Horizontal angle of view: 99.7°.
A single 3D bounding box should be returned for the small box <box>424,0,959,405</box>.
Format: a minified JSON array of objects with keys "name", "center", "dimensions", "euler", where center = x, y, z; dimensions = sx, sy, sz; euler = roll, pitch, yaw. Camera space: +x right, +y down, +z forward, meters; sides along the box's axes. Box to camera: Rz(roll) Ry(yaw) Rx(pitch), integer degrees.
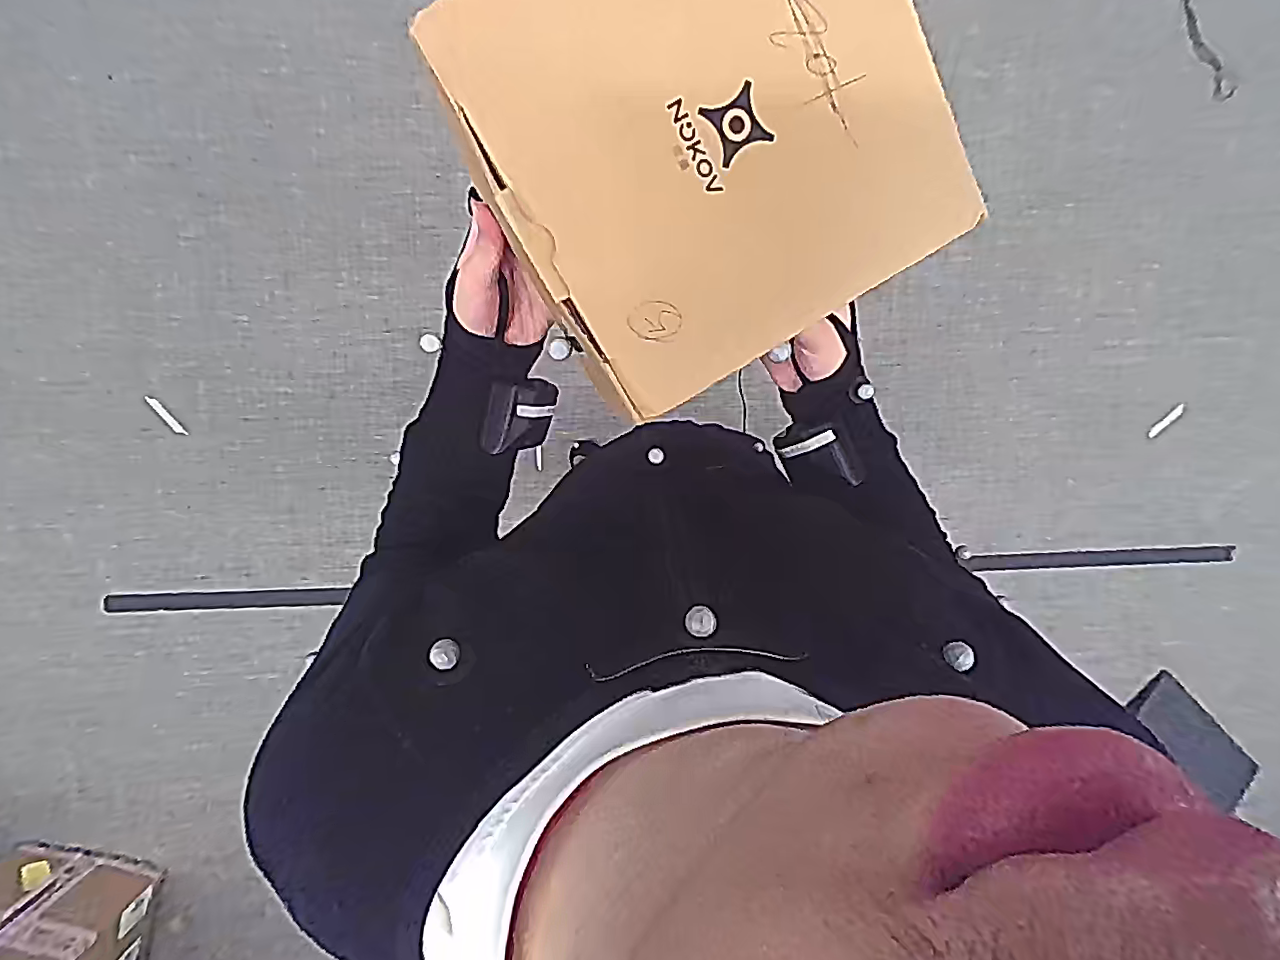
[{"name":"small box","center":[0.019,-0.157,0.298],"dimensions":[0.179,0.176,0.168],"euler":[-32,106,-2]}]
